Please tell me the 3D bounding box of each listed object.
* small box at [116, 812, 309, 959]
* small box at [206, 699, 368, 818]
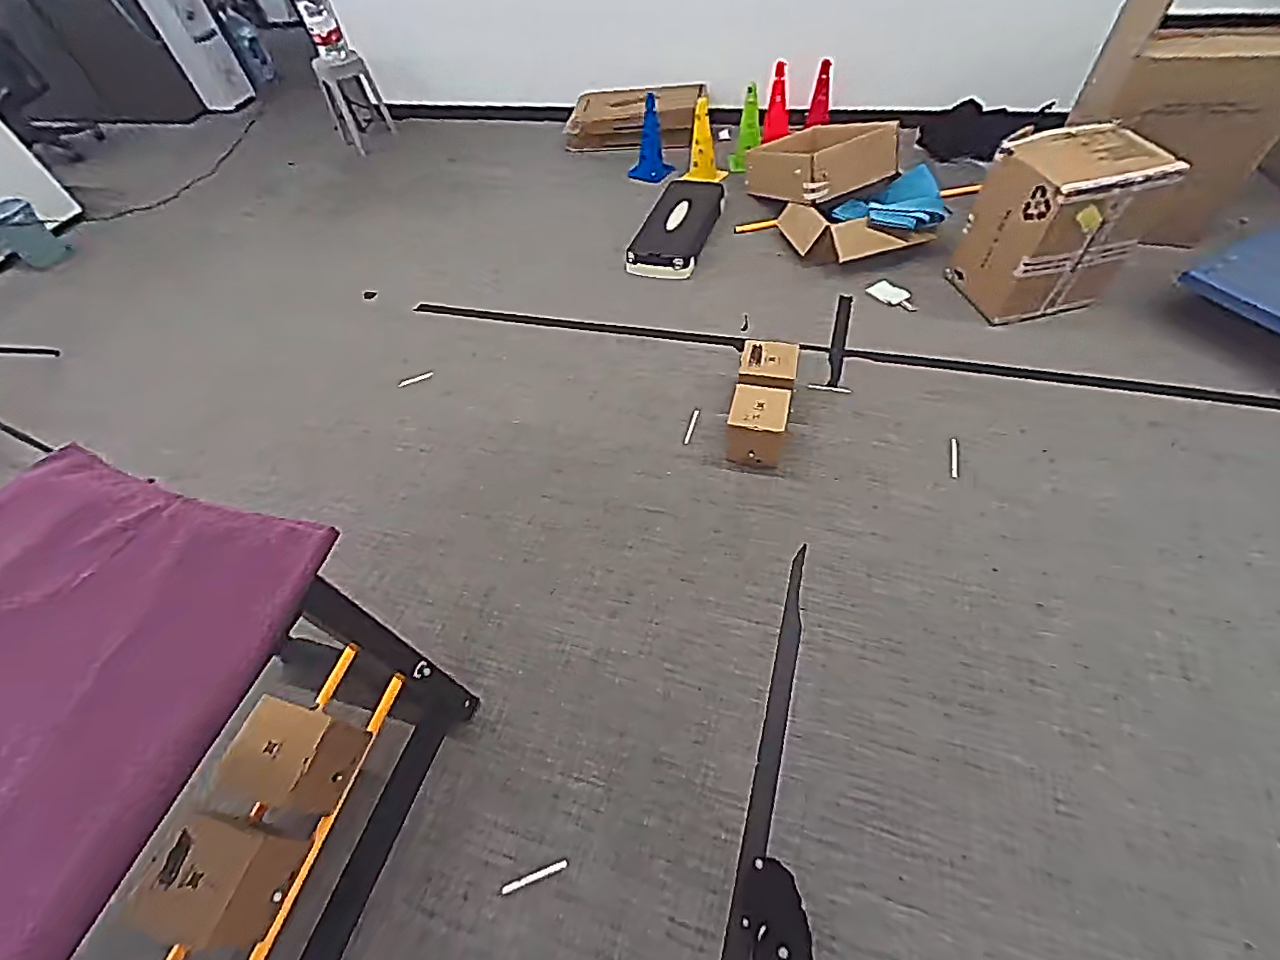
[{"bbox_3d":[-0.760,0.731,0.984,0.179,0.176,0.168,11,56,12],"label":"small box"},{"bbox_3d":[-0.700,0.568,1.095,0.179,0.176,0.168,11,56,12],"label":"small box"}]
